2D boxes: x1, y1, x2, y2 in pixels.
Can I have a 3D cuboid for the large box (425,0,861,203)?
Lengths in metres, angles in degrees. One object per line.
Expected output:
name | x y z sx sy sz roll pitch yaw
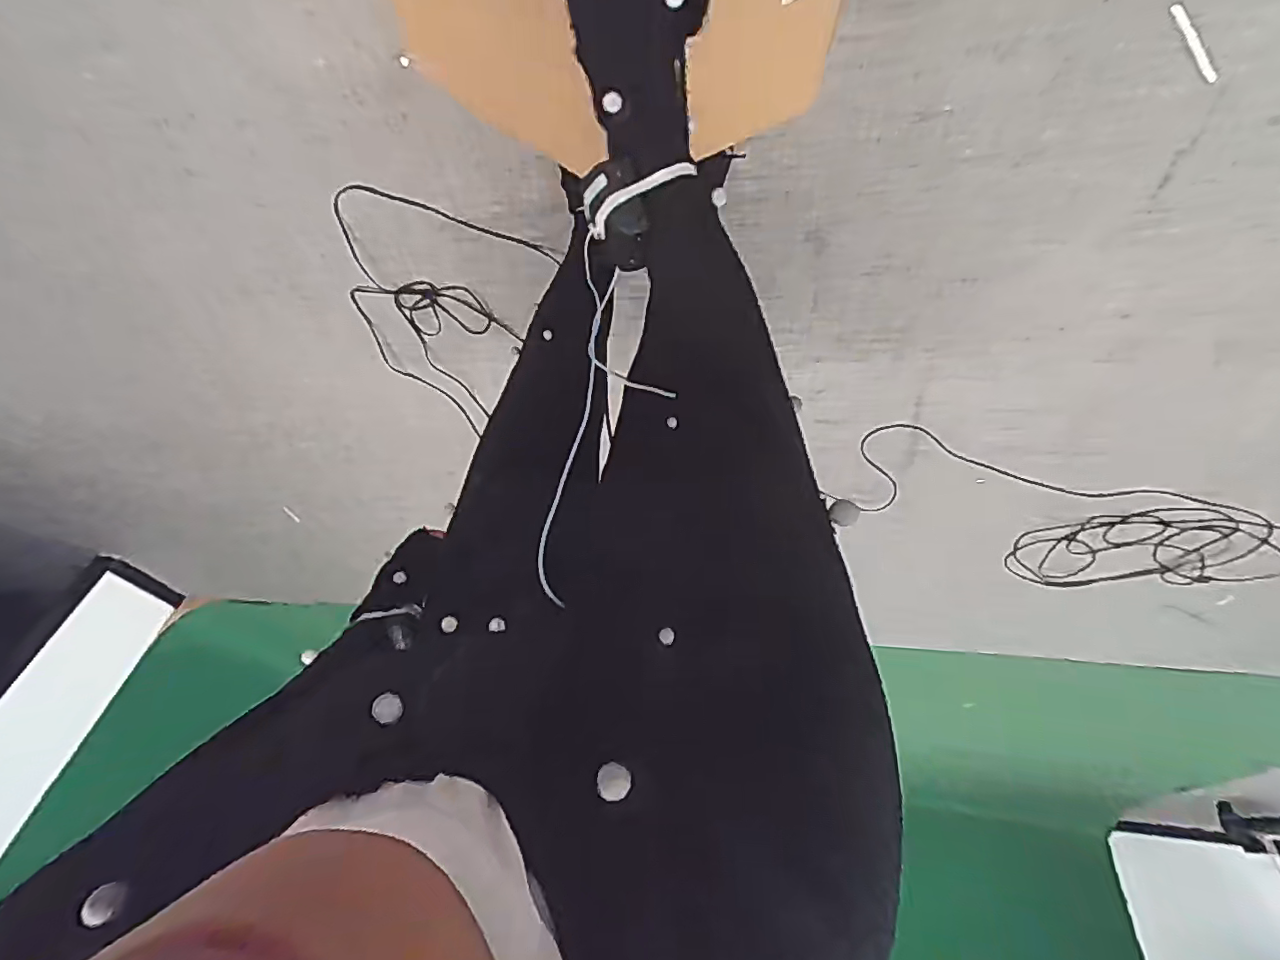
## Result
large box | -0.009 -0.562 0.557 0.408 0.320 0.320 45 156 26
